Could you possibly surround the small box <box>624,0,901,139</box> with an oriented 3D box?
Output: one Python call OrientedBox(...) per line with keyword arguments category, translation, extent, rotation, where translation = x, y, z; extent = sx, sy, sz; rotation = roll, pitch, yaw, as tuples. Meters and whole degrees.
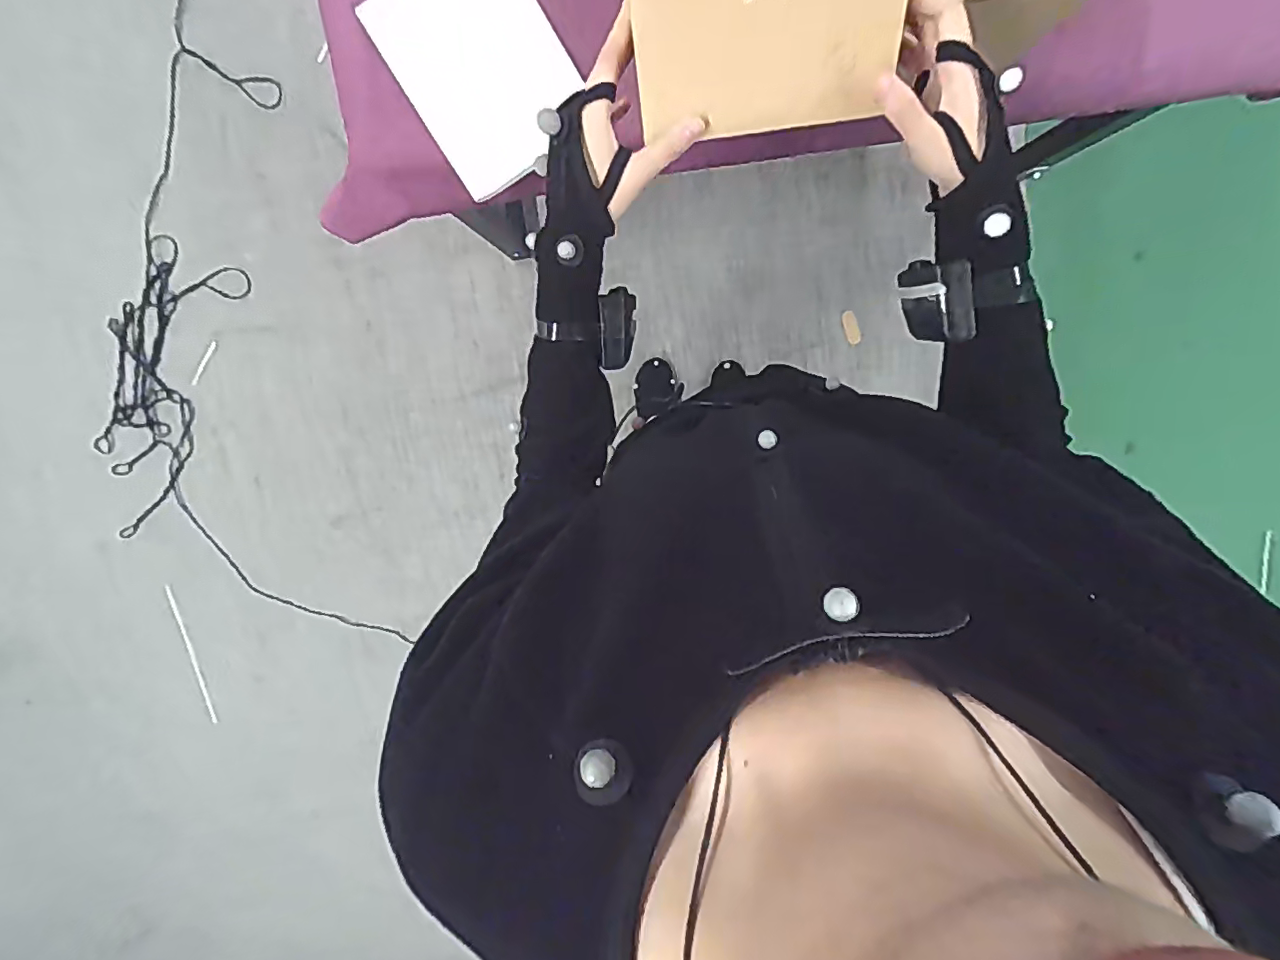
OrientedBox(category="small box", translation=(0.075, -0.360, 0.358), extent=(0.168, 0.176, 0.179), rotation=(-3, 138, 8))
